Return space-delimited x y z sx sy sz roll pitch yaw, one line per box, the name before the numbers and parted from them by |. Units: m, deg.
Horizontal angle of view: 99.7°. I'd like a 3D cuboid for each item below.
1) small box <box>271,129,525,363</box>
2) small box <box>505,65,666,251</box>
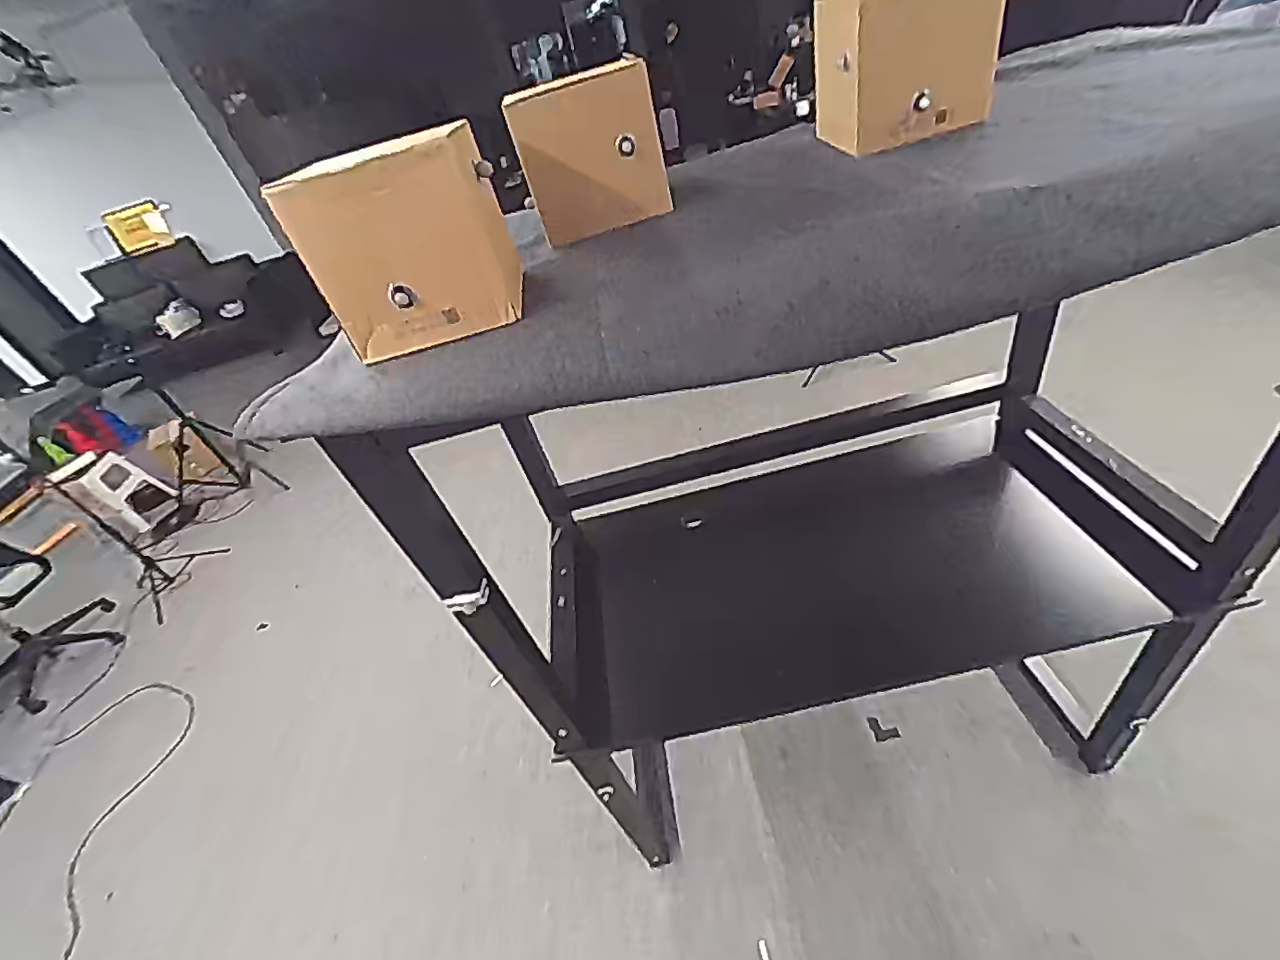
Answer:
small box | -0.228 -0.246 0.567 0.168 0.176 0.179 -16 38 1
small box | -0.069 -0.437 0.735 0.179 0.176 0.168 -16 39 0
